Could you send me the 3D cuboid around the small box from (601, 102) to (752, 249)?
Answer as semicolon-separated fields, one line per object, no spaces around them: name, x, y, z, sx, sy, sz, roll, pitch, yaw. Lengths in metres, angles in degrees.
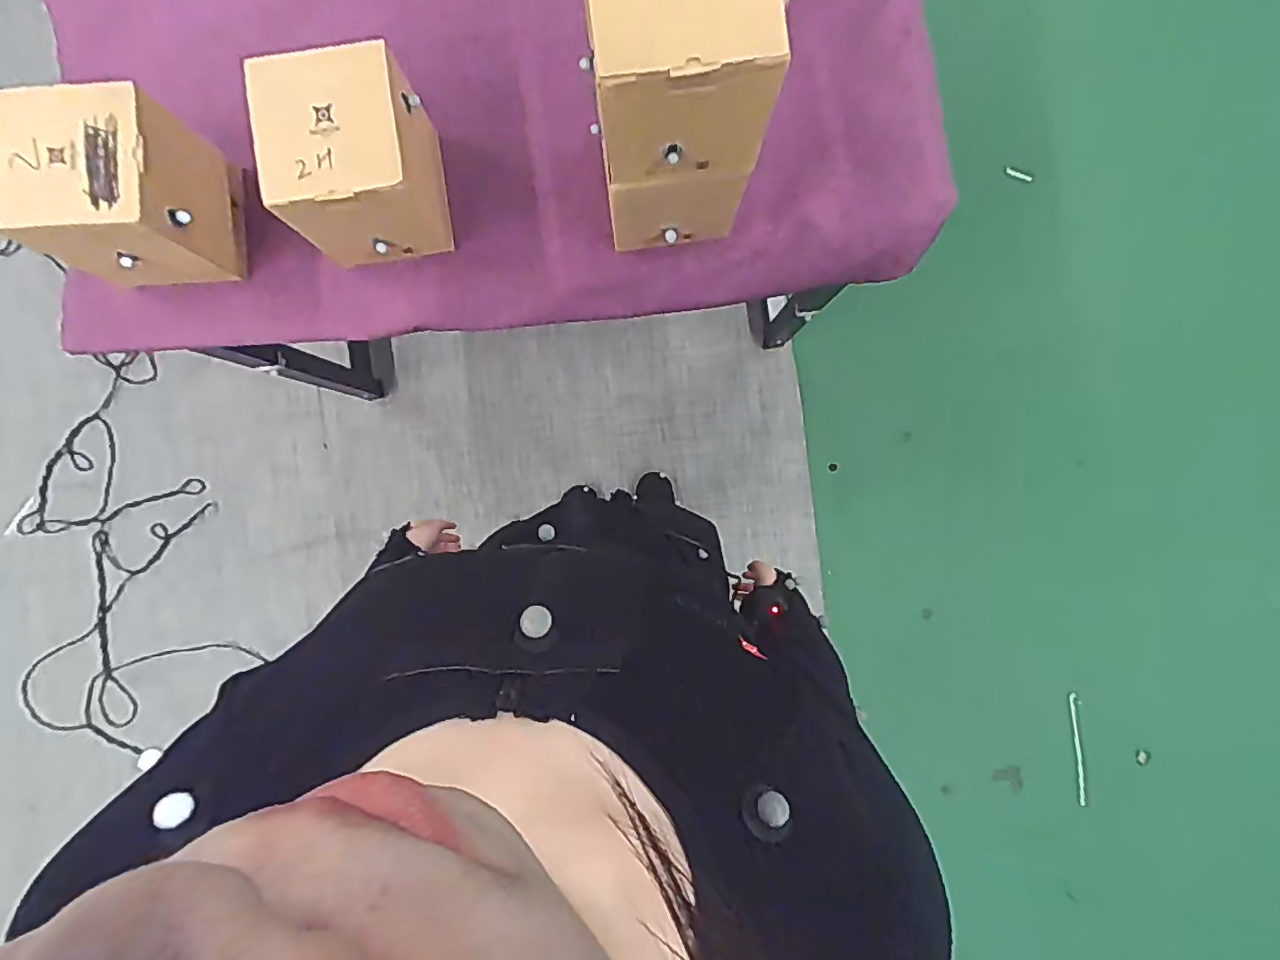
small box;0.038;-0.426;0.699;0.168;0.176;0.179;-7;90;0

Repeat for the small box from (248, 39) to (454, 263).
small box;-0.356;-0.407;0.696;0.168;0.176;0.179;-9;89;0

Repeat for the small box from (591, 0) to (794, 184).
small box;0.040;-0.431;0.537;0.168;0.176;0.179;-7;90;0
